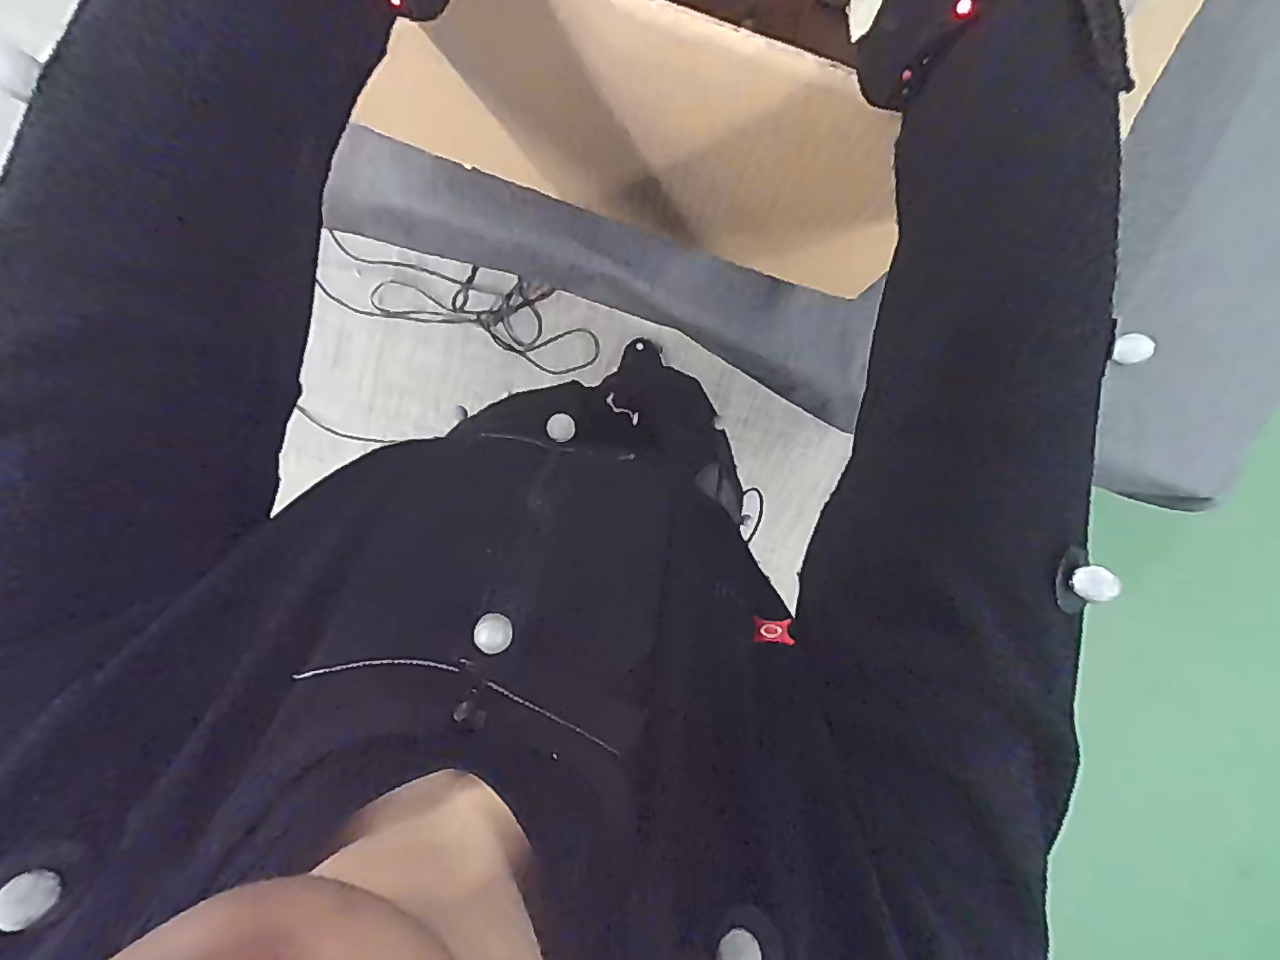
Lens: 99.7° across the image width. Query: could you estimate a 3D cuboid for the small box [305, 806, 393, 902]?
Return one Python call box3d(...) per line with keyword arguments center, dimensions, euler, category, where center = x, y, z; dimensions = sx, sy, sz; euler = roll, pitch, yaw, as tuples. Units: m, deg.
box3d(center=(-0.924, 1.183, 1.724), dimensions=(0.179, 0.176, 0.168), euler=(19, 107, -2), category="small box")
